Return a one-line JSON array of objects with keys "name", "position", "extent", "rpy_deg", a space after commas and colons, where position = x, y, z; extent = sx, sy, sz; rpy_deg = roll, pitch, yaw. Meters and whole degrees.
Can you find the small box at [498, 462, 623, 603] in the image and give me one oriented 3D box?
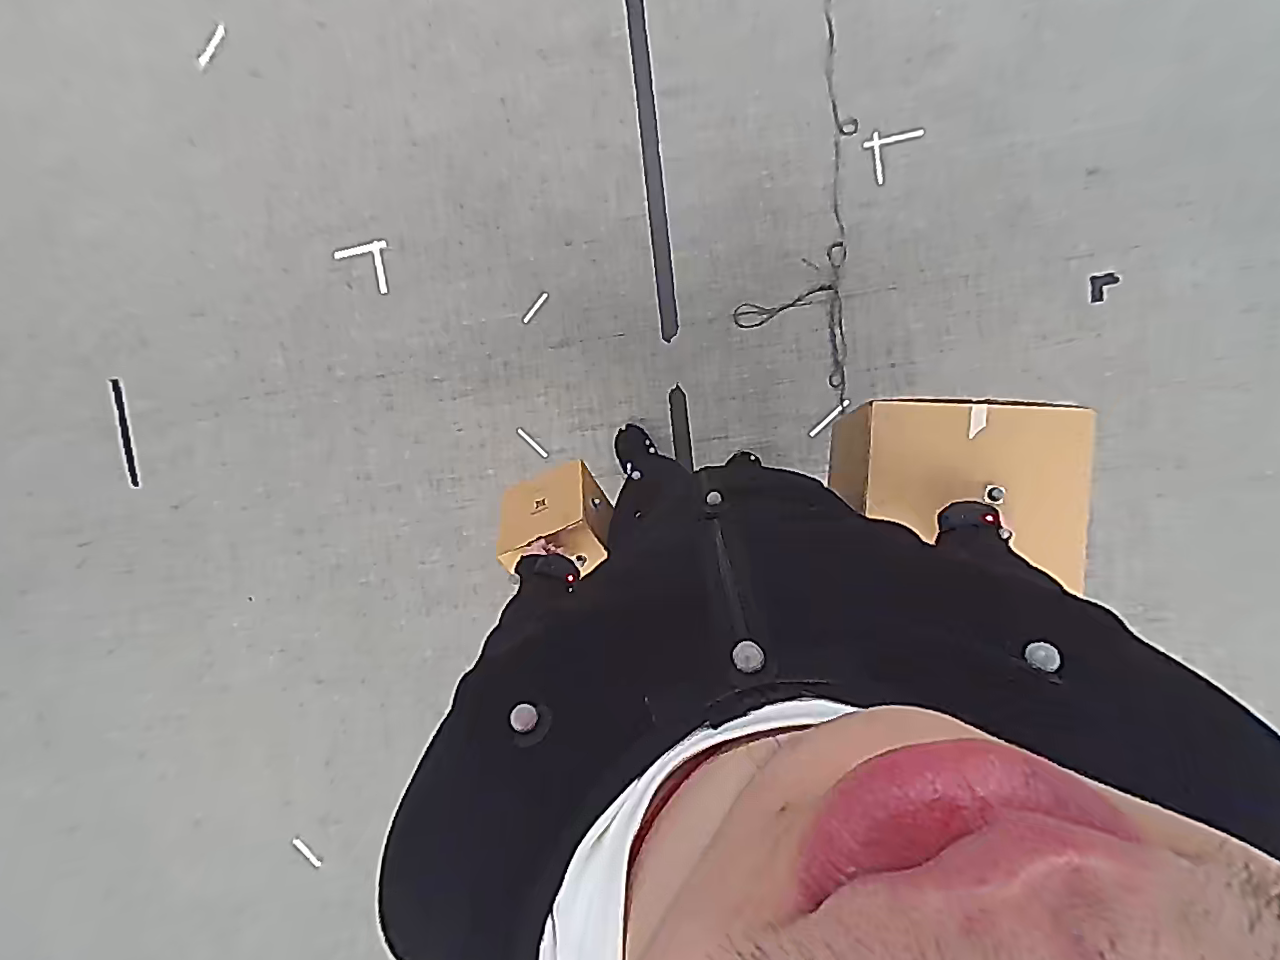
[{"name": "small box", "position": [-0.140, 0.103, 0.998], "extent": [0.168, 0.179, 0.176], "rpy_deg": [-23, 126, 9]}]
